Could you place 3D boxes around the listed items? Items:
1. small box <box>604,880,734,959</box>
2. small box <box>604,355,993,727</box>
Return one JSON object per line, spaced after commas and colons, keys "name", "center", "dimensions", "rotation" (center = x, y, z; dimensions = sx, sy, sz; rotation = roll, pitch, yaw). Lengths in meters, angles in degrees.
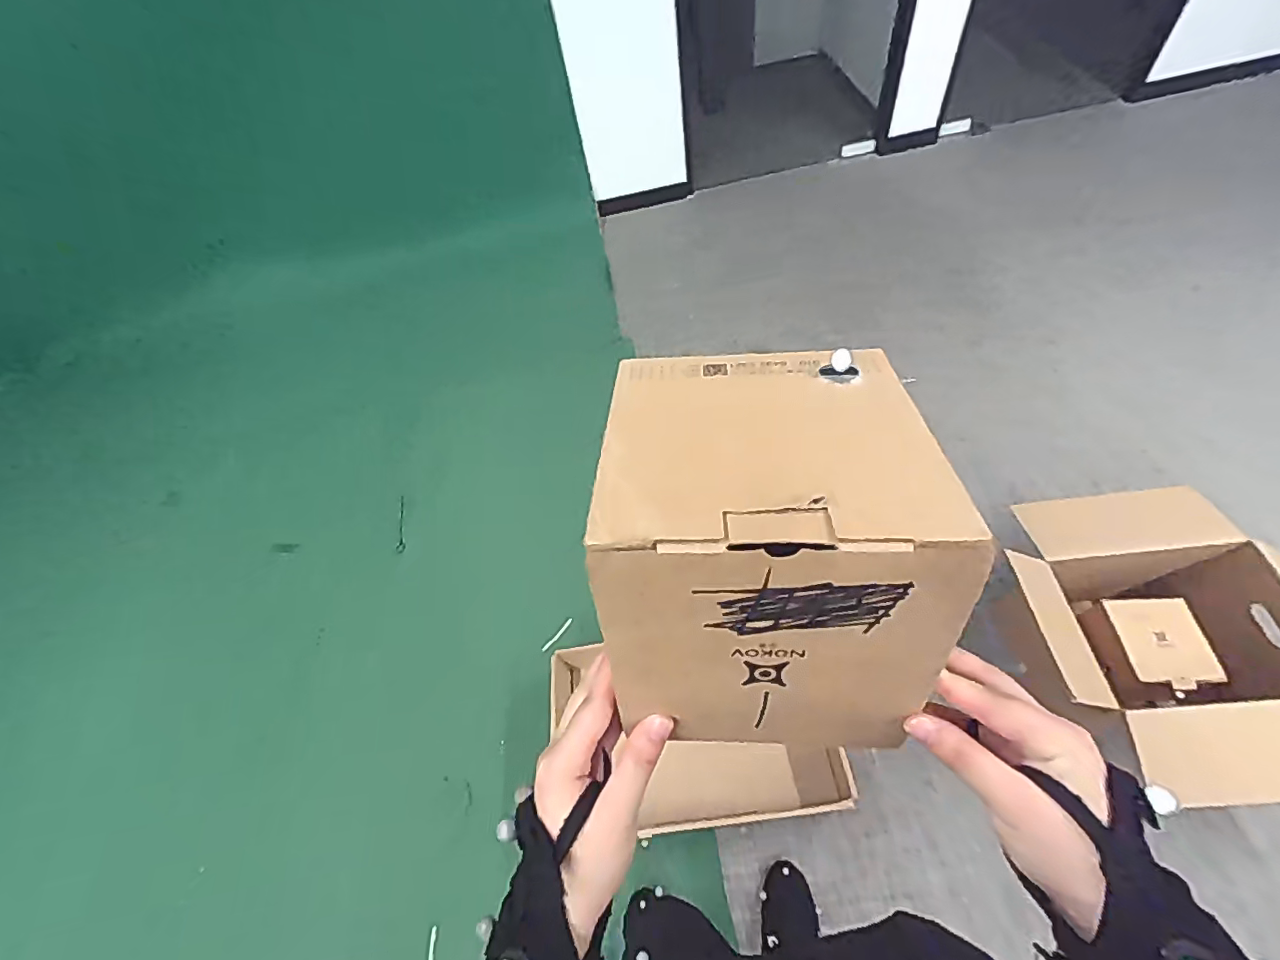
{"name": "small box", "center": [0.051, 0.902, 1.006], "dimensions": [0.176, 0.168, 0.179], "rotation": [39, 36, 2]}
{"name": "small box", "center": [0.073, 0.031, 0.339], "dimensions": [0.168, 0.179, 0.176], "rotation": [-1, 40, 6]}
